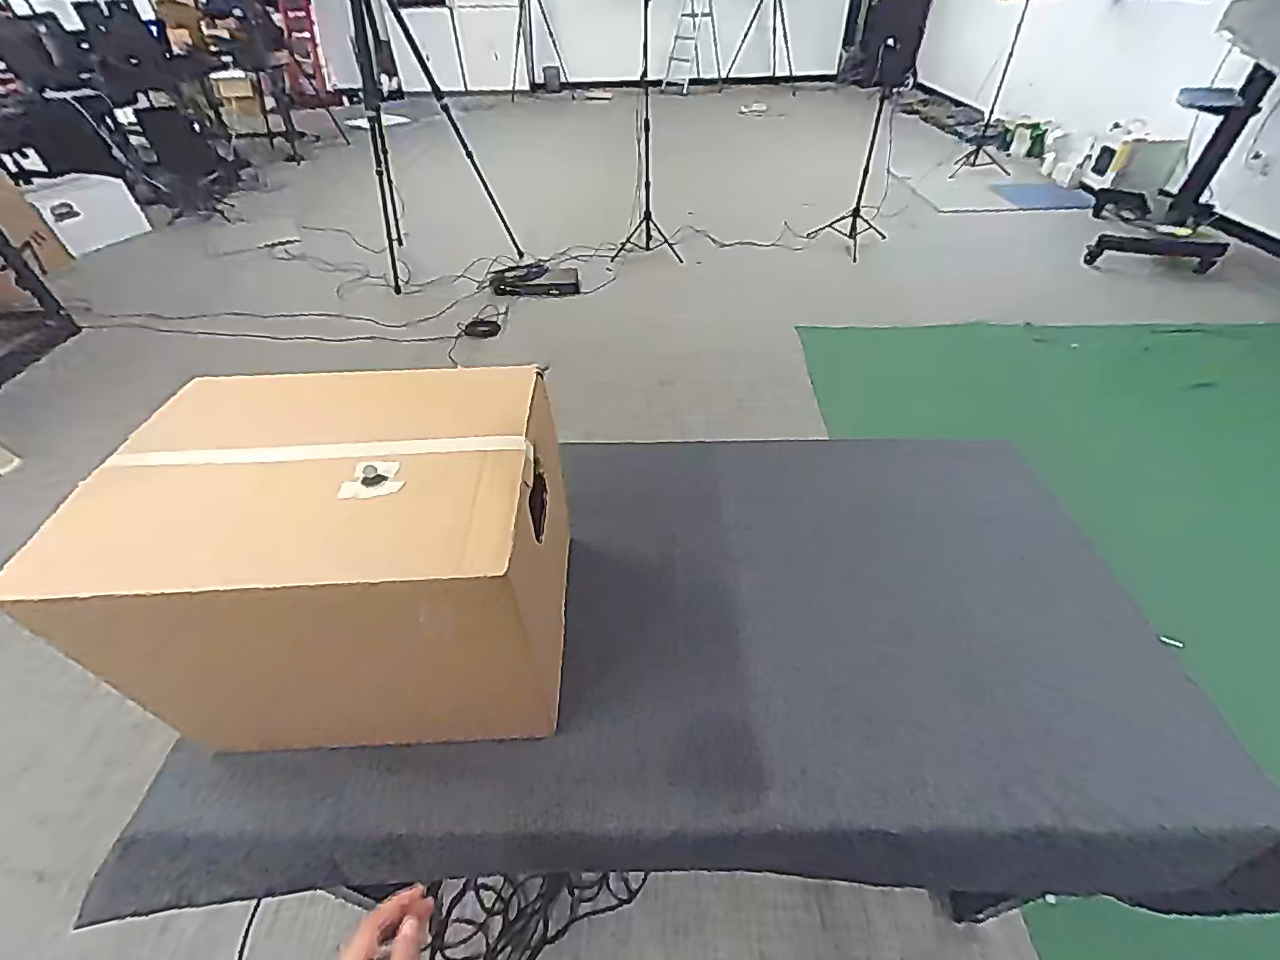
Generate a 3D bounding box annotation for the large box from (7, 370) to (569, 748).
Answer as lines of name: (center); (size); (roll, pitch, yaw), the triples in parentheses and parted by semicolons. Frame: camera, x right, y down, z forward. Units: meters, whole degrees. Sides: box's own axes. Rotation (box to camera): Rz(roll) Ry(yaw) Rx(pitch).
large box: (-0.300, 0.087, 0.632); (0.408, 0.320, 0.320); (-2, 44, -3)
